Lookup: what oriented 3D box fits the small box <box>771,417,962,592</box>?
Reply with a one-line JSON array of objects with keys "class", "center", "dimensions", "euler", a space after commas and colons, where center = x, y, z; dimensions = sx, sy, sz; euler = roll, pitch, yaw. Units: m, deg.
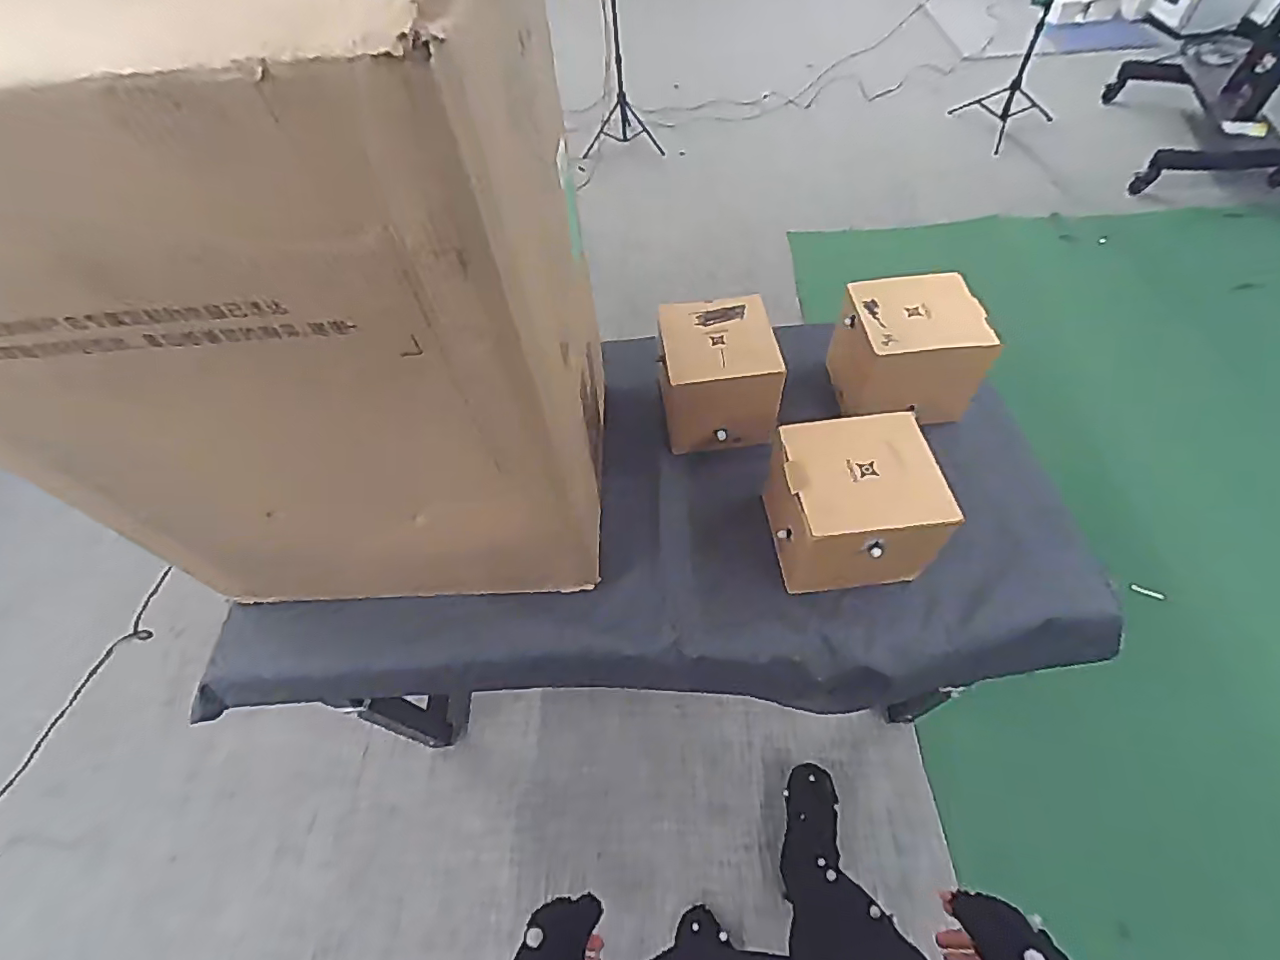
[{"class": "small box", "center": [0.281, 0.039, 0.726], "dimensions": [0.179, 0.176, 0.168], "euler": [-6, 56, 0]}]

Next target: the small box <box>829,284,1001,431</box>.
[{"class": "small box", "center": [0.427, -0.191, 0.874], "dimensions": [0.179, 0.176, 0.168], "euler": [-4, 55, 2]}]
